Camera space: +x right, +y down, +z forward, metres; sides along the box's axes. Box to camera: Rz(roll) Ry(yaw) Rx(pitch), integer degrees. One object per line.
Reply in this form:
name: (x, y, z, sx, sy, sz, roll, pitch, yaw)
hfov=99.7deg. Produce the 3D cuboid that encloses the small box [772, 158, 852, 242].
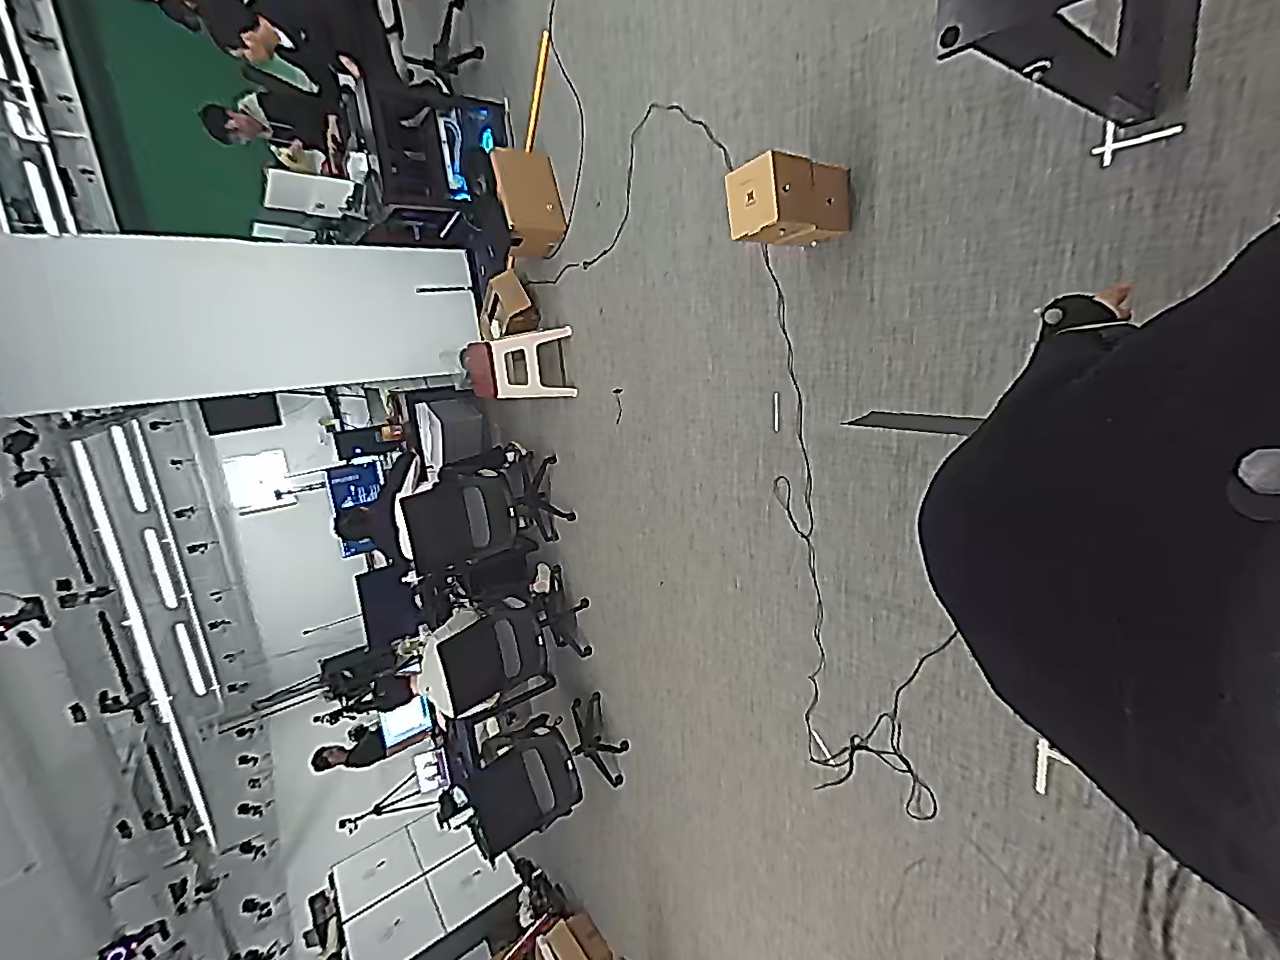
small box: (0.499, -0.805, 1.573, 0.168, 0.176, 0.179, 10, 110, 53)

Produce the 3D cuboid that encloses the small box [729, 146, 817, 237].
small box: (0.367, -0.778, 1.482, 0.168, 0.176, 0.179, 4, 104, 53)
